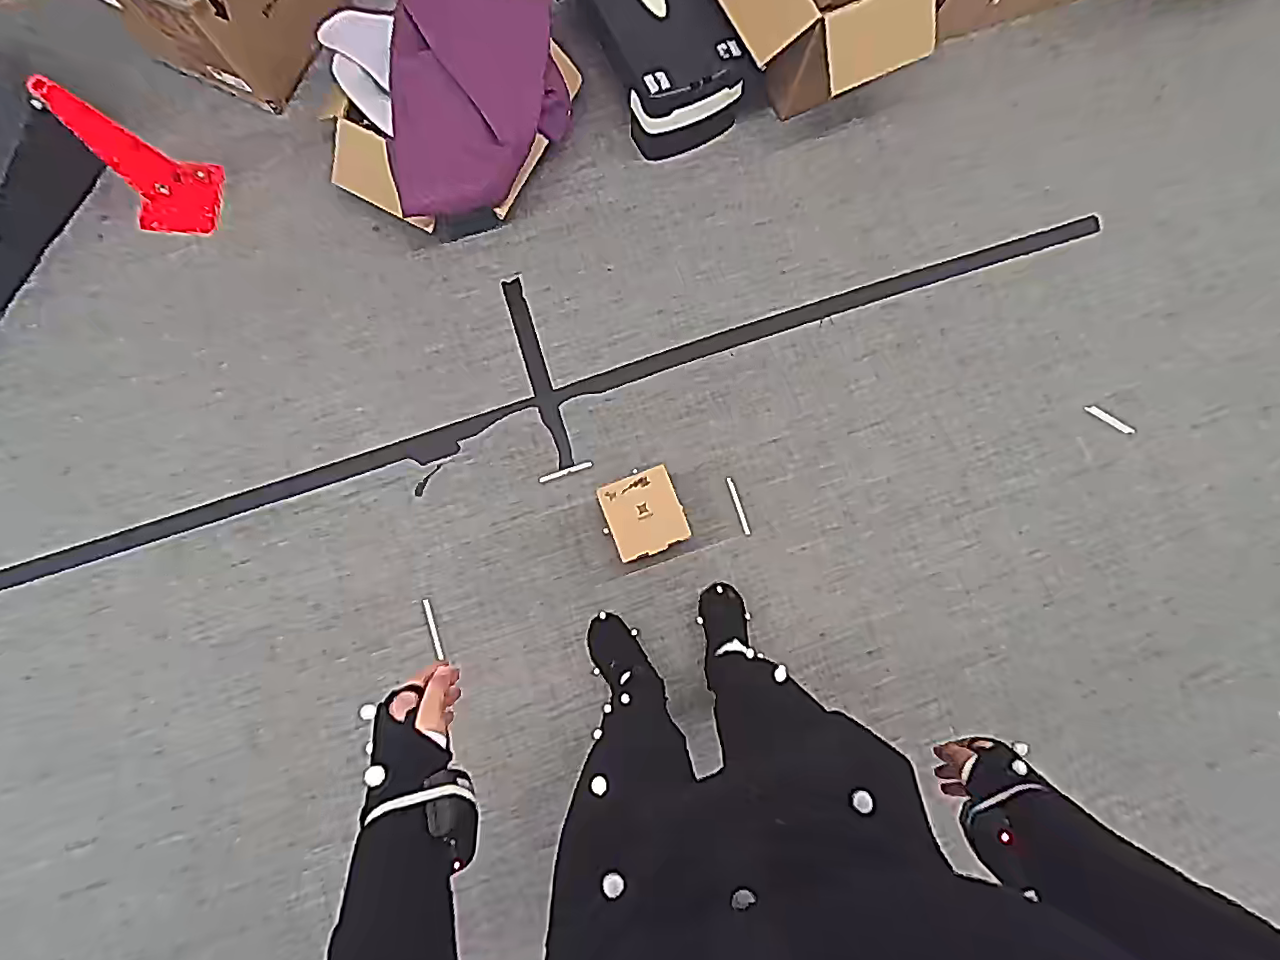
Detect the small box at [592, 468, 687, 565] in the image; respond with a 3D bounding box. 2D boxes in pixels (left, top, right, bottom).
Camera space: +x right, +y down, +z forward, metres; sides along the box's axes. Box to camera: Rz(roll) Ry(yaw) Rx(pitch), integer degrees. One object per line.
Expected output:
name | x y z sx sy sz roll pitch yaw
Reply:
small box | -0.002 0.087 1.262 0.168 0.176 0.179 -20 84 -5
